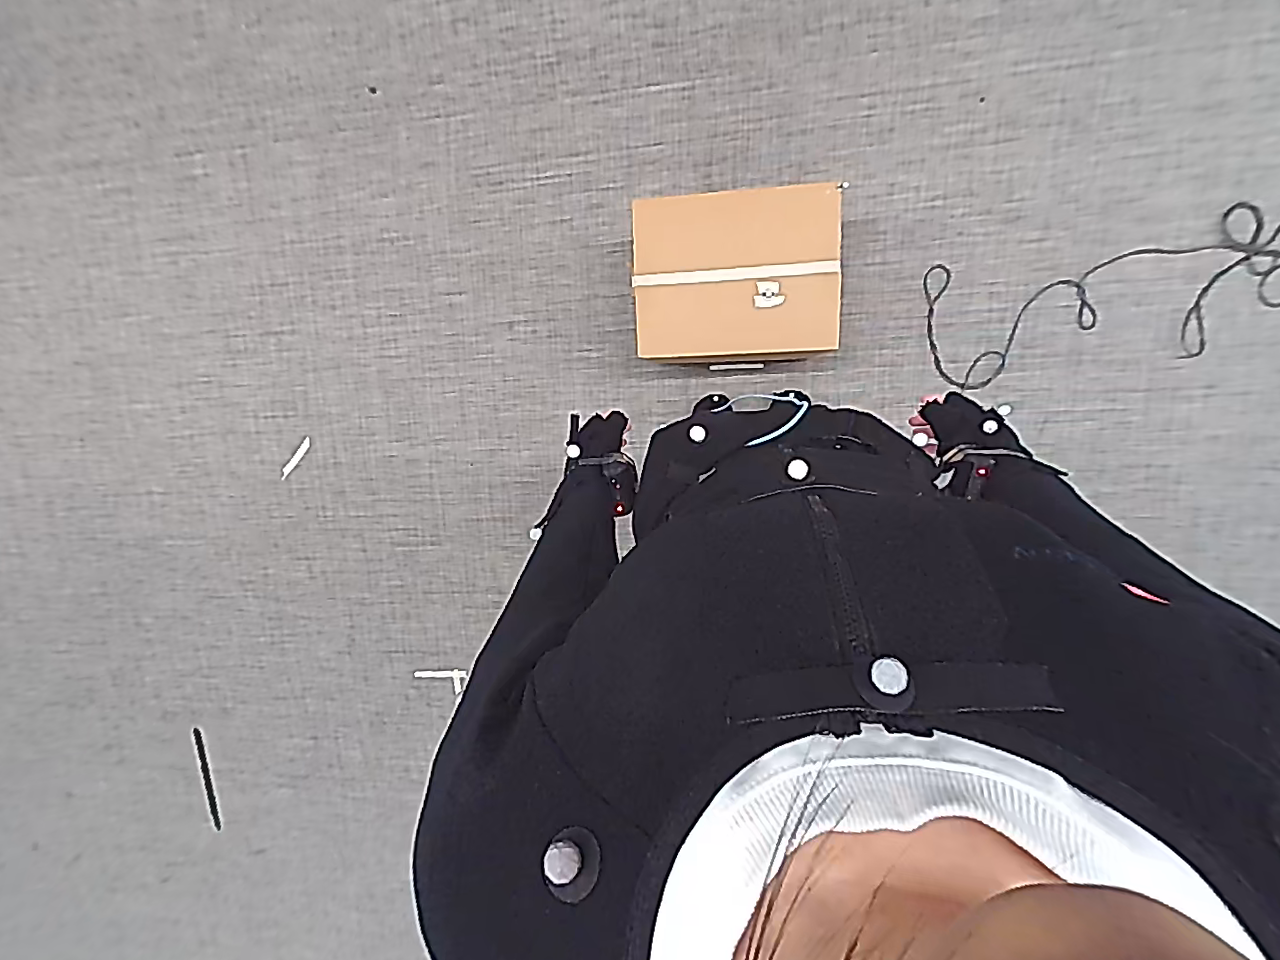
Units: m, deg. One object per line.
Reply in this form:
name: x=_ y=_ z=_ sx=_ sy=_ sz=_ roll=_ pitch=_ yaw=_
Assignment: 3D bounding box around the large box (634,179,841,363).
large box: x=0.210 y=-0.439 z=1.222 sx=0.408 sy=0.320 sz=0.320 roll=-1 pitch=100 yaw=8
